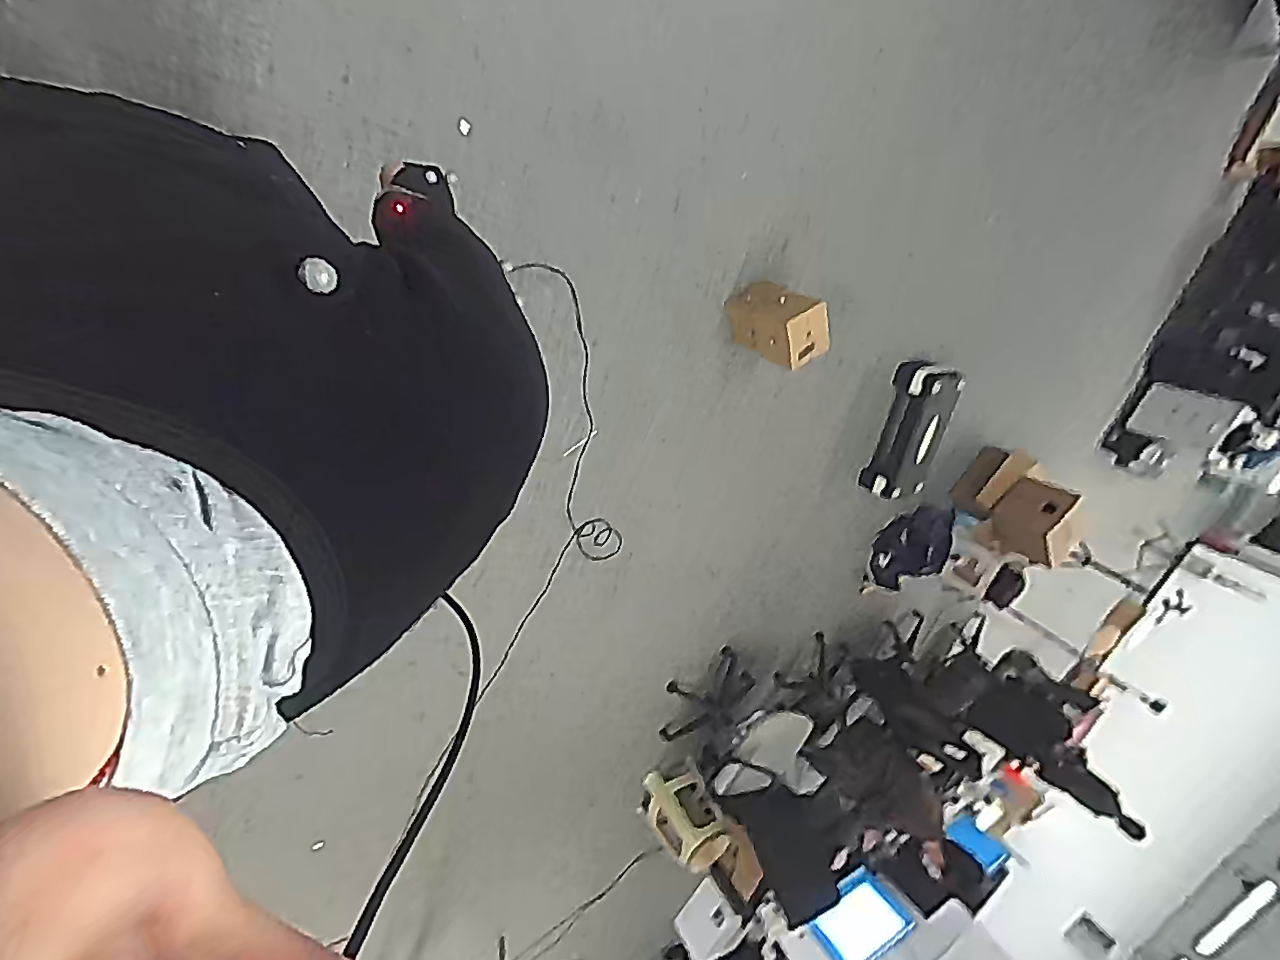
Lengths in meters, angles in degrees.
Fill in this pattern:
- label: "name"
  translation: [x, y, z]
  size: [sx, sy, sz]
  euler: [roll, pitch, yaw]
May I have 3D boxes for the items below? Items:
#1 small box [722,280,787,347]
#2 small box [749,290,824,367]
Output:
- label: "small box"
  translation: [0.416, -0.589, 1.919]
  size: [0.168, 0.176, 0.179]
  euler: [-39, 132, -9]
- label: "small box"
  translation: [0.485, -0.508, 1.793]
  size: [0.168, 0.176, 0.179]
  euler: [-33, 129, -14]
